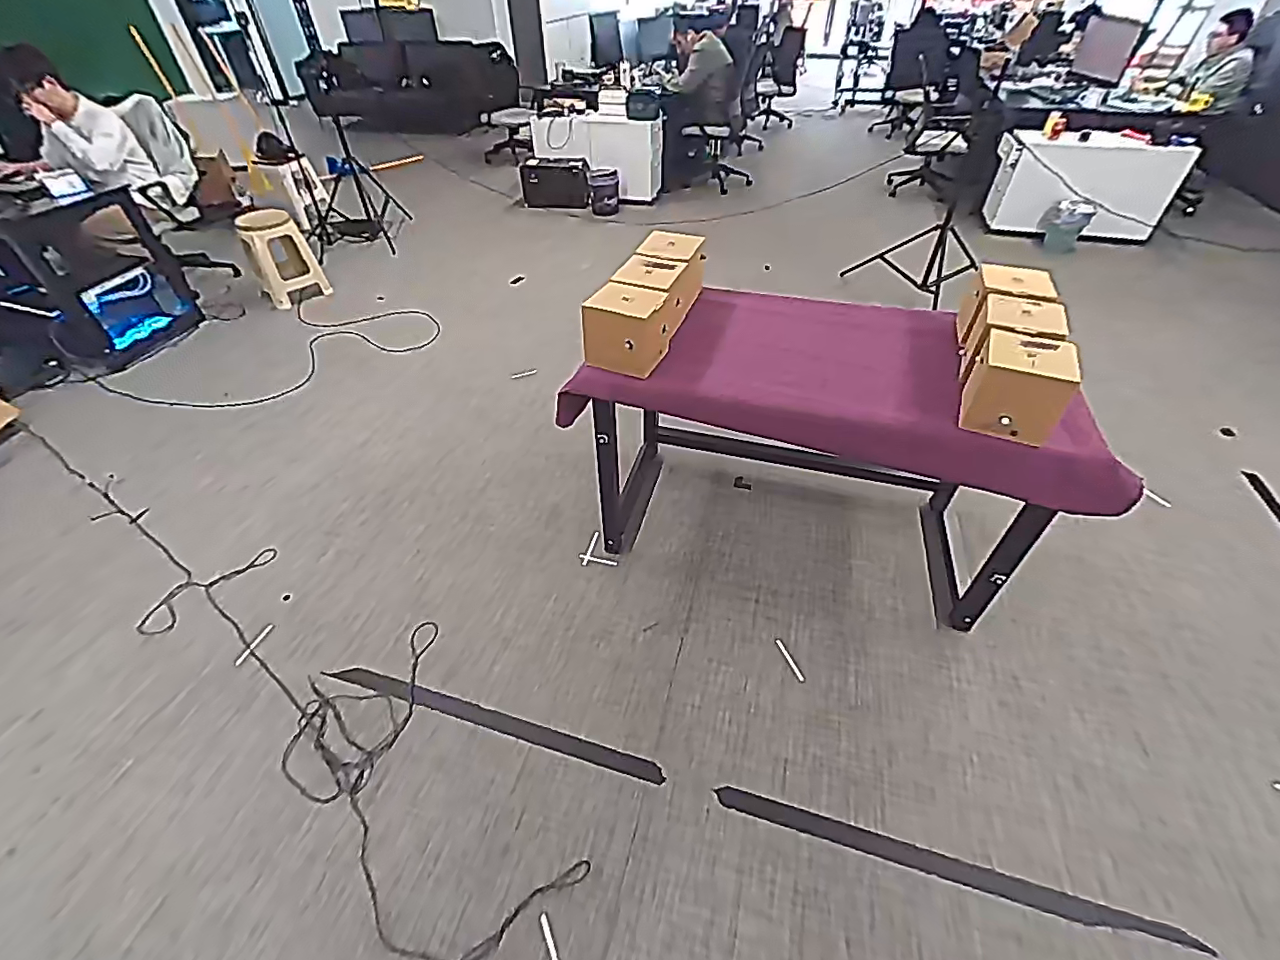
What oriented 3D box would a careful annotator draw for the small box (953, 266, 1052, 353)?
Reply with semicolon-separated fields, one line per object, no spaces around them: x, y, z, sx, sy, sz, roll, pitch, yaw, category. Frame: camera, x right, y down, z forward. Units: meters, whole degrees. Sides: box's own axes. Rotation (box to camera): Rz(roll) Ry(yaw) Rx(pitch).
0.968;-0.454;1.464;0.168;0.176;0.179;14;45;14;small box

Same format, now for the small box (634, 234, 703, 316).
0.086;-0.628;1.655;0.168;0.176;0.179;14;47;15;small box

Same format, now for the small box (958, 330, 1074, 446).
0.830;-0.205;1.203;0.168;0.176;0.179;18;50;23;small box
